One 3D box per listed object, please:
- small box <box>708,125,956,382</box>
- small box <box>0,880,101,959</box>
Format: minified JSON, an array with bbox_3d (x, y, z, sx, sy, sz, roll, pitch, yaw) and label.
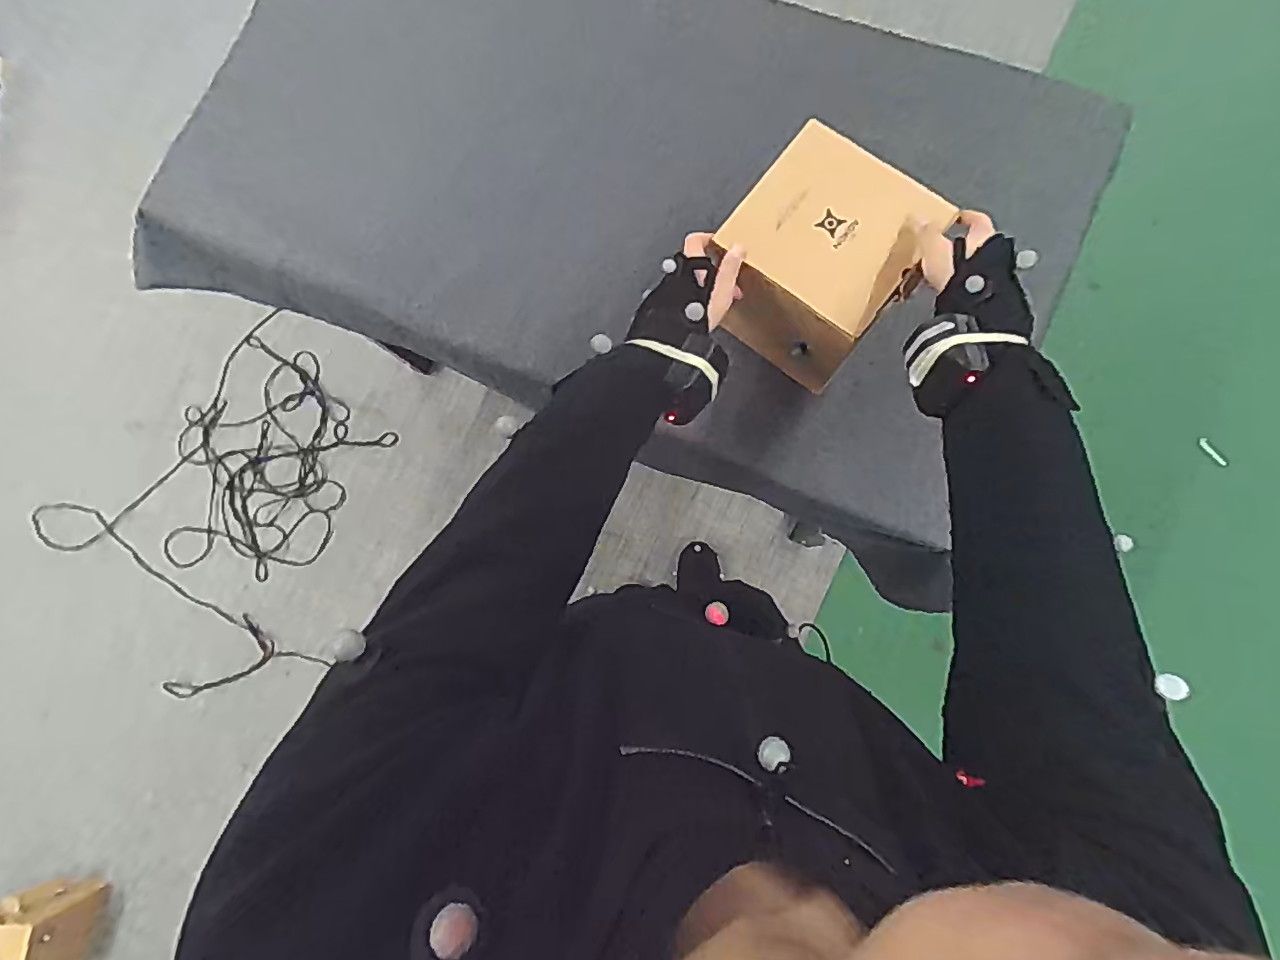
[{"bbox_3d":[0.193,-0.231,0.602,0.179,0.176,0.168,38,86,10],"label":"small box"},{"bbox_3d":[-1.465,1.114,1.299,0.168,0.176,0.179,4,82,6],"label":"small box"}]
